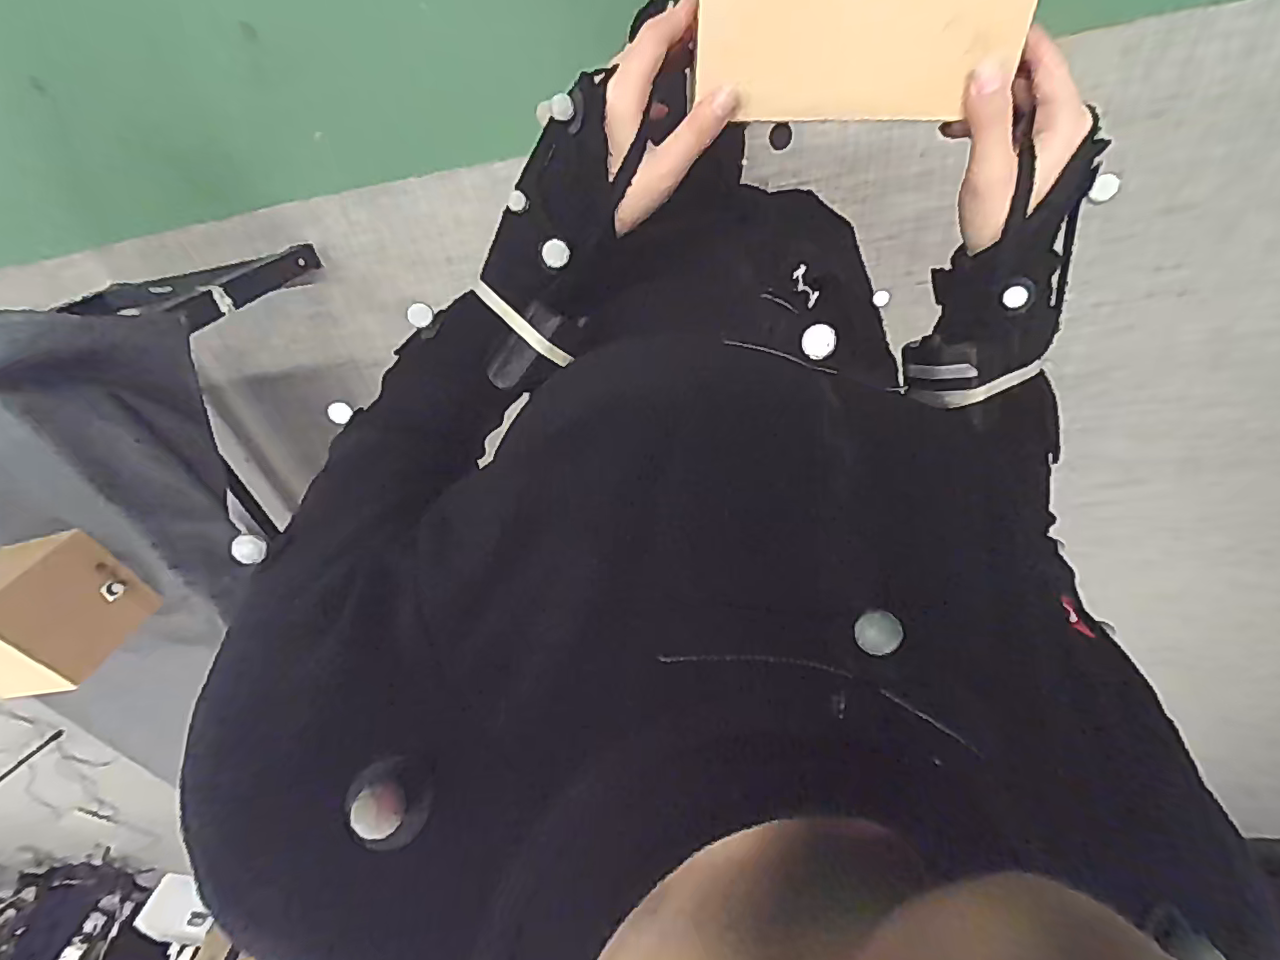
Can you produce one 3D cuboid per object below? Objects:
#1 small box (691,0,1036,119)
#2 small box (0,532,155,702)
[{"bbox_3d":[0.116,-0.314,0.310,0.168,0.176,0.179,2,123,3],"label":"small box"},{"bbox_3d":[-0.891,0.199,0.795,0.179,0.176,0.168,-12,127,14],"label":"small box"}]
